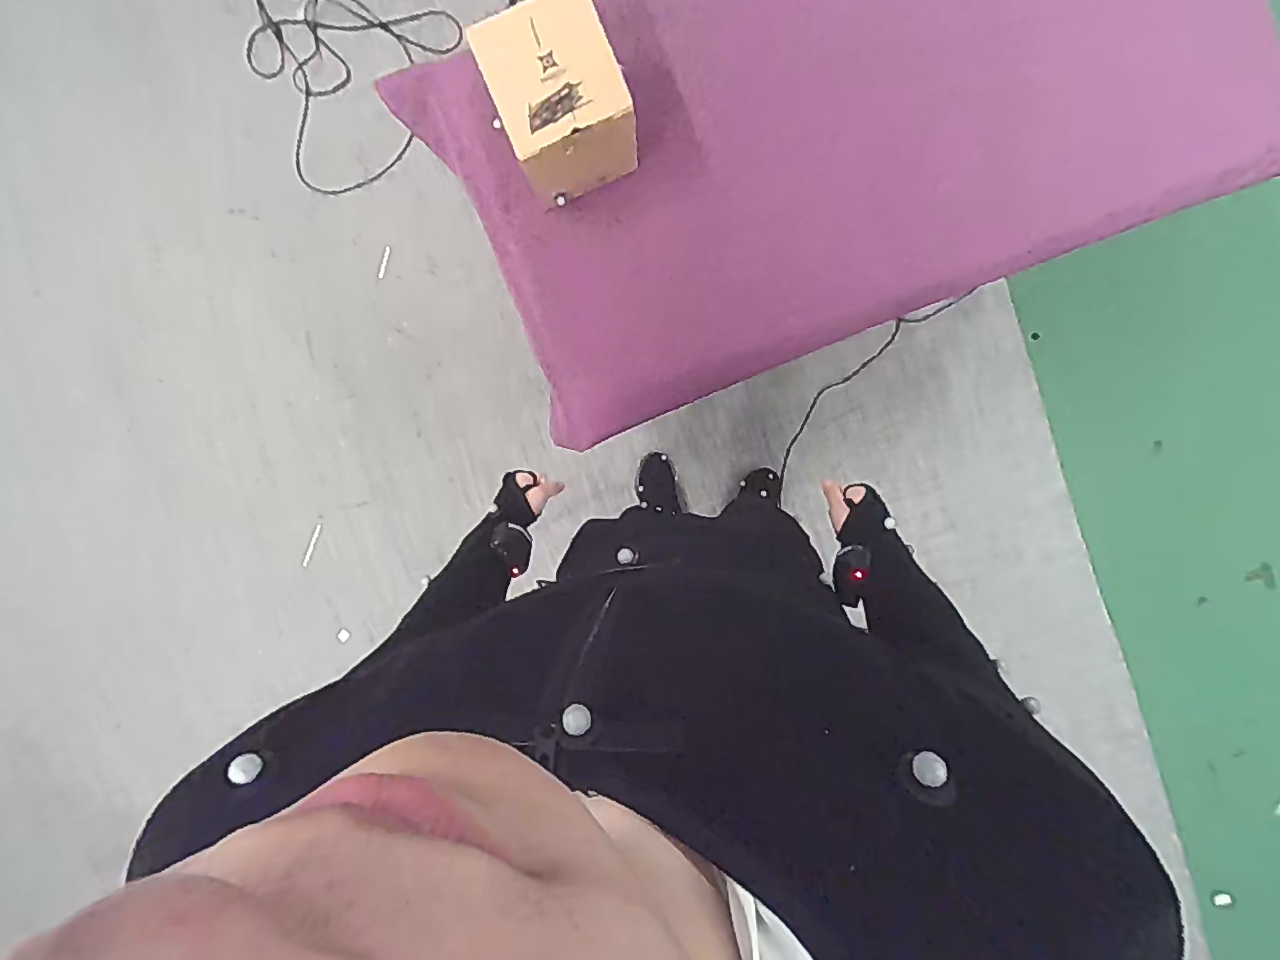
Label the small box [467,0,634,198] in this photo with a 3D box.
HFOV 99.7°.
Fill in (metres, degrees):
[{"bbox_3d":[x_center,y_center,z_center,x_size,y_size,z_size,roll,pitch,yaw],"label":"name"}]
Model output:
[{"bbox_3d":[-0.113,-0.534,0.770,0.168,0.176,0.179,-23,94,3],"label":"small box"}]
